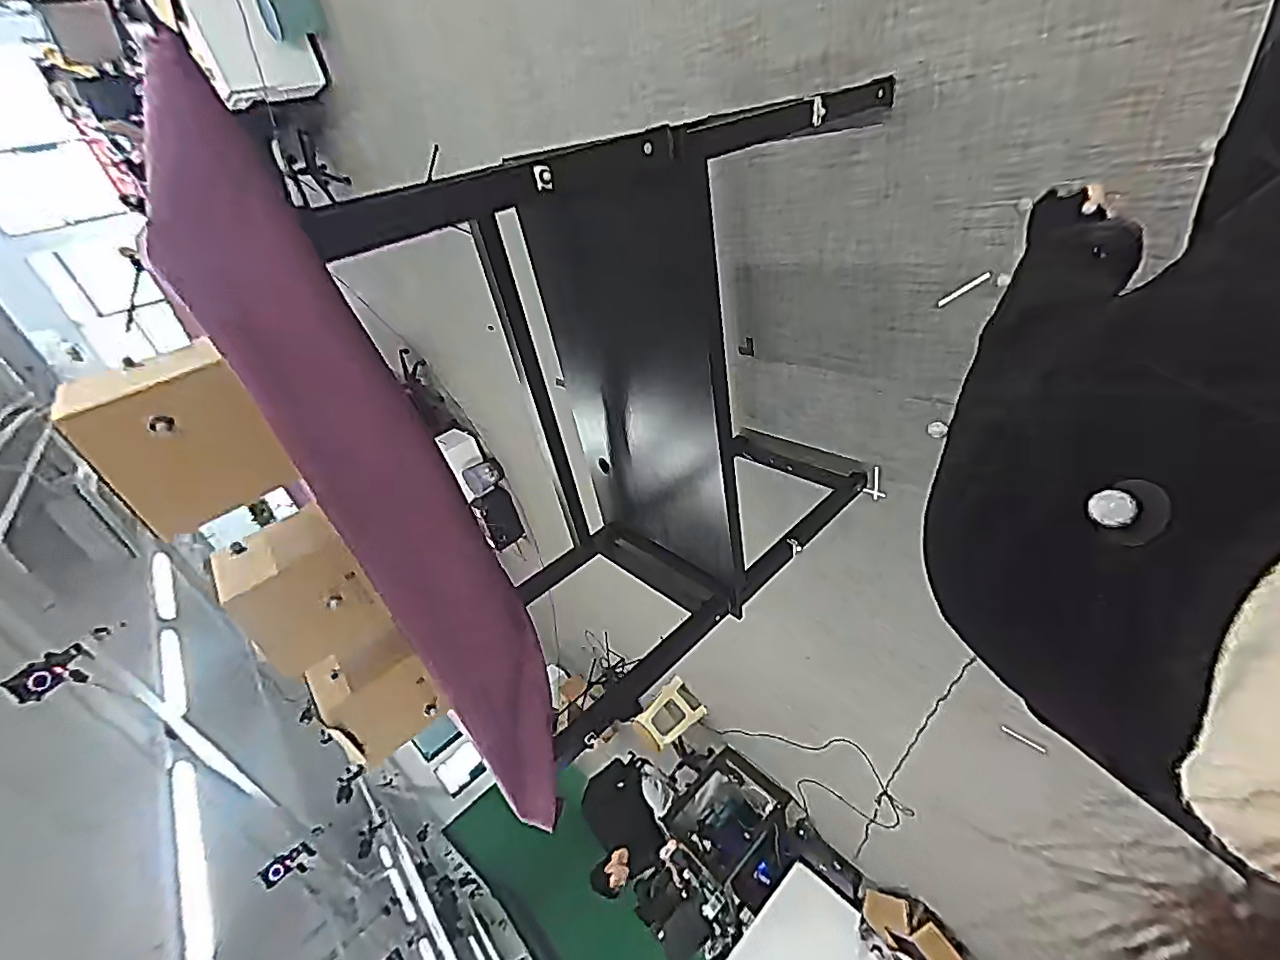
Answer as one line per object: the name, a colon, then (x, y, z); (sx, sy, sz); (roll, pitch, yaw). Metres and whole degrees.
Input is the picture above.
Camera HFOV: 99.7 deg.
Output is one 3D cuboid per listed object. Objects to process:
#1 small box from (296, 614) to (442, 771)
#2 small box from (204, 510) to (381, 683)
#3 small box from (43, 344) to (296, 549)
small box: (-0.491, 0.380, 0.997); (0.179, 0.176, 0.168); (24, 138, 45)
small box: (-0.538, 0.170, 0.850); (0.179, 0.176, 0.168); (24, 139, 44)
small box: (-0.580, -0.053, 0.684); (0.168, 0.176, 0.179); (28, 142, 42)
